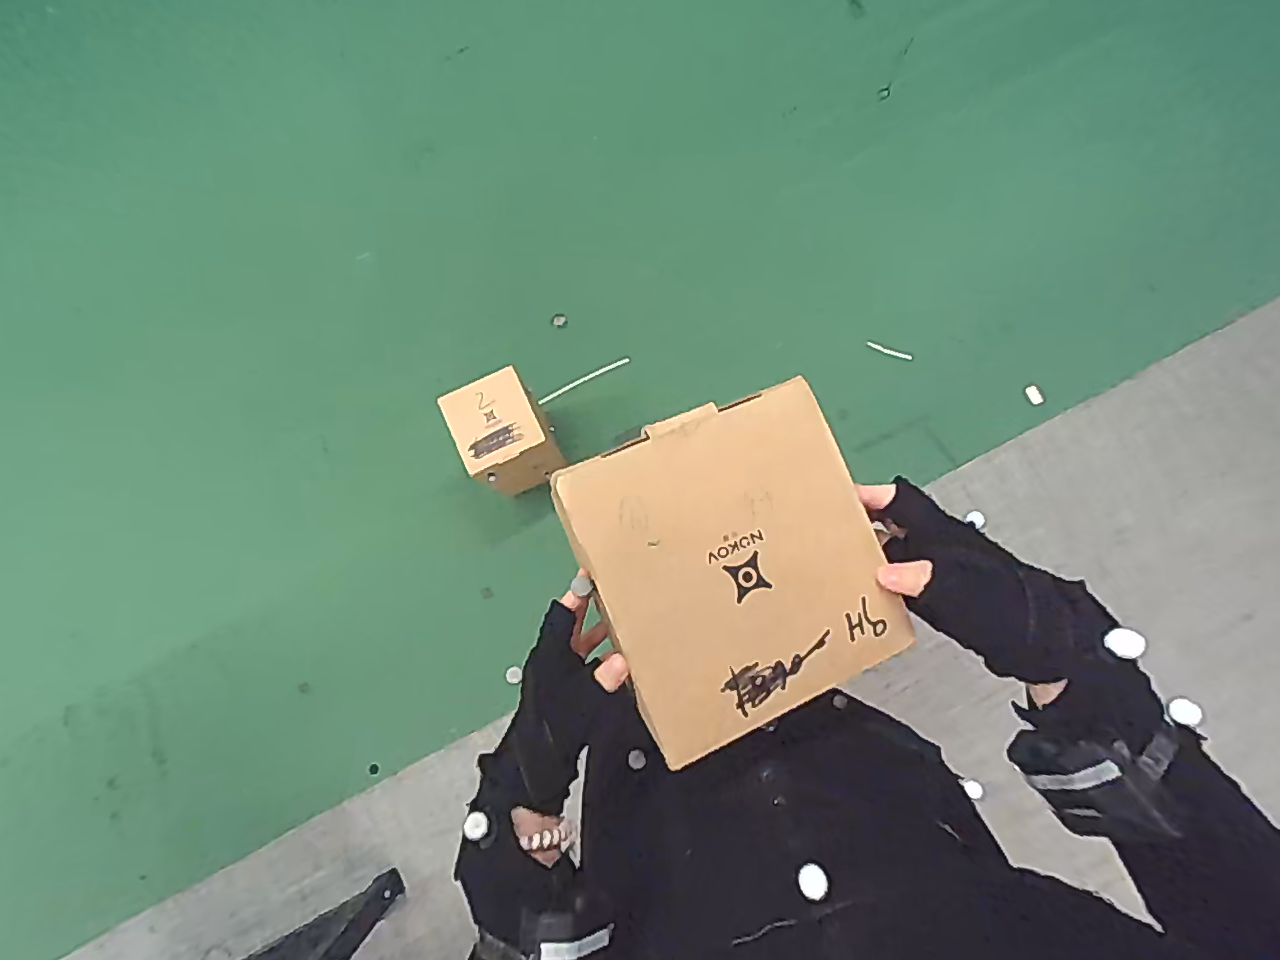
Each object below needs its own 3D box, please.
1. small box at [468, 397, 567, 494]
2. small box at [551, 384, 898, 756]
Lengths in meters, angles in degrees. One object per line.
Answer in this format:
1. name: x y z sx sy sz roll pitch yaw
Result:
1. small box: -0.286 -0.073 1.311 0.168 0.176 0.179 -23 82 -2
2. small box: 0.040 0.056 0.397 0.168 0.176 0.179 -22 88 -10
